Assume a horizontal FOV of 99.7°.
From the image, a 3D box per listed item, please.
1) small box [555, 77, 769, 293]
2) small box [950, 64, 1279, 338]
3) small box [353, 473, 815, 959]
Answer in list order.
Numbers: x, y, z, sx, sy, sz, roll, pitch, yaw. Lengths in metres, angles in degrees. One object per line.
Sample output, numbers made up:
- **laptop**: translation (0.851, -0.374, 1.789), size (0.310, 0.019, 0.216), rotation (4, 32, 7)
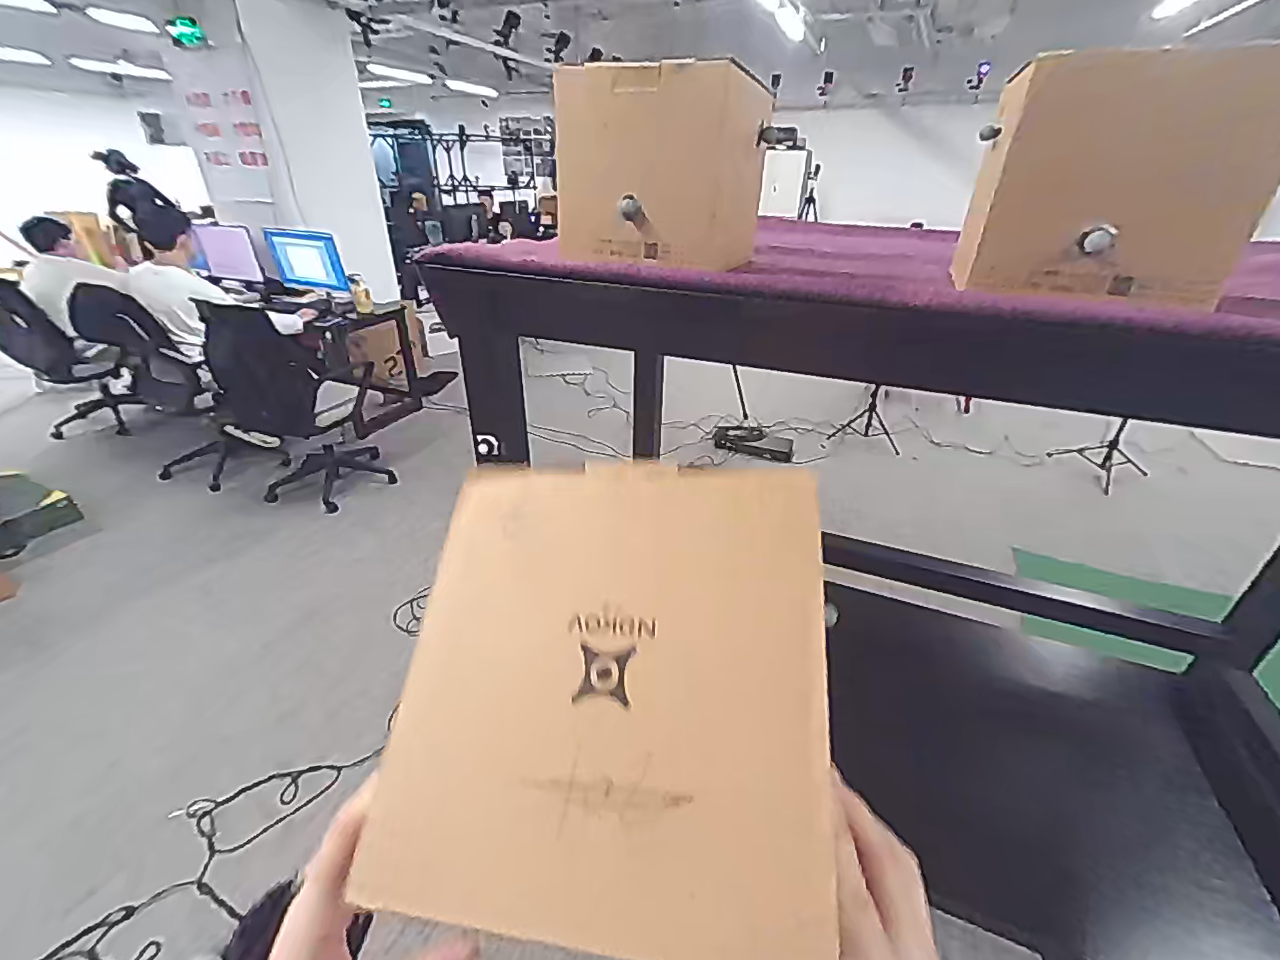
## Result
- **small box**: translation (0.026, -0.302, 0.564), size (0.168, 0.176, 0.179), rotation (13, 31, 20)
- **small box**: translation (0.375, -0.231, 0.453), size (0.168, 0.176, 0.179), rotation (13, 33, 20)
- **small box**: translation (-0.002, 0.112, 0.286), size (0.168, 0.176, 0.179), rotation (1, 64, 13)
